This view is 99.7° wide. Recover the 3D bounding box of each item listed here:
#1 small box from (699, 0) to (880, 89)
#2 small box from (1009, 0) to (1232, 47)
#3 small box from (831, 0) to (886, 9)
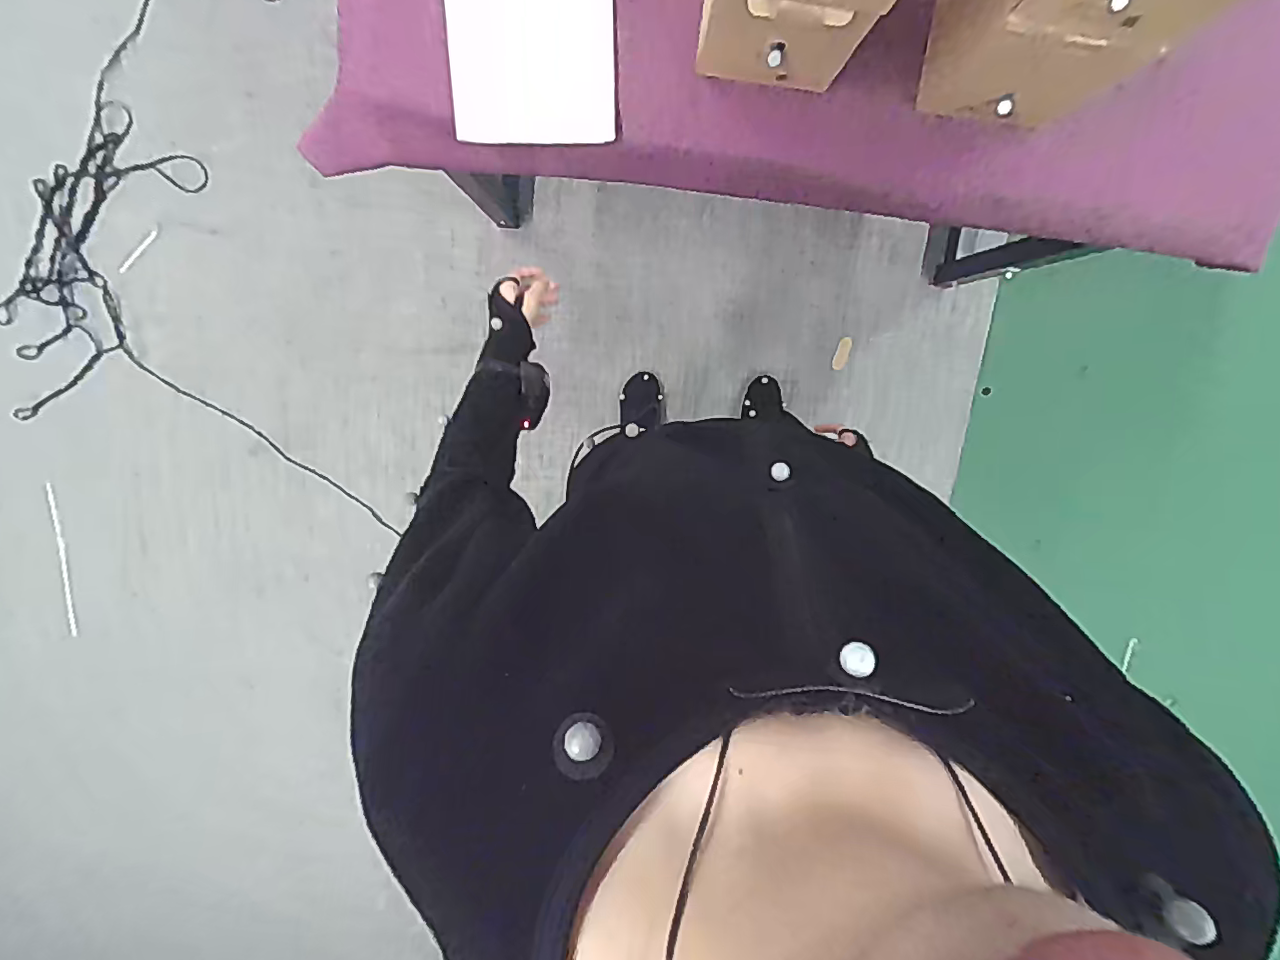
[{"bbox_3d":[0.160,-0.556,0.573,0.168,0.176,0.179,7,102,-2],"label":"small box"},{"bbox_3d":[0.433,-0.494,0.422,0.168,0.176,0.179,7,101,-2],"label":"small box"},{"bbox_3d":[0.162,-0.516,0.413,0.168,0.176,0.179,7,101,-2],"label":"small box"}]
